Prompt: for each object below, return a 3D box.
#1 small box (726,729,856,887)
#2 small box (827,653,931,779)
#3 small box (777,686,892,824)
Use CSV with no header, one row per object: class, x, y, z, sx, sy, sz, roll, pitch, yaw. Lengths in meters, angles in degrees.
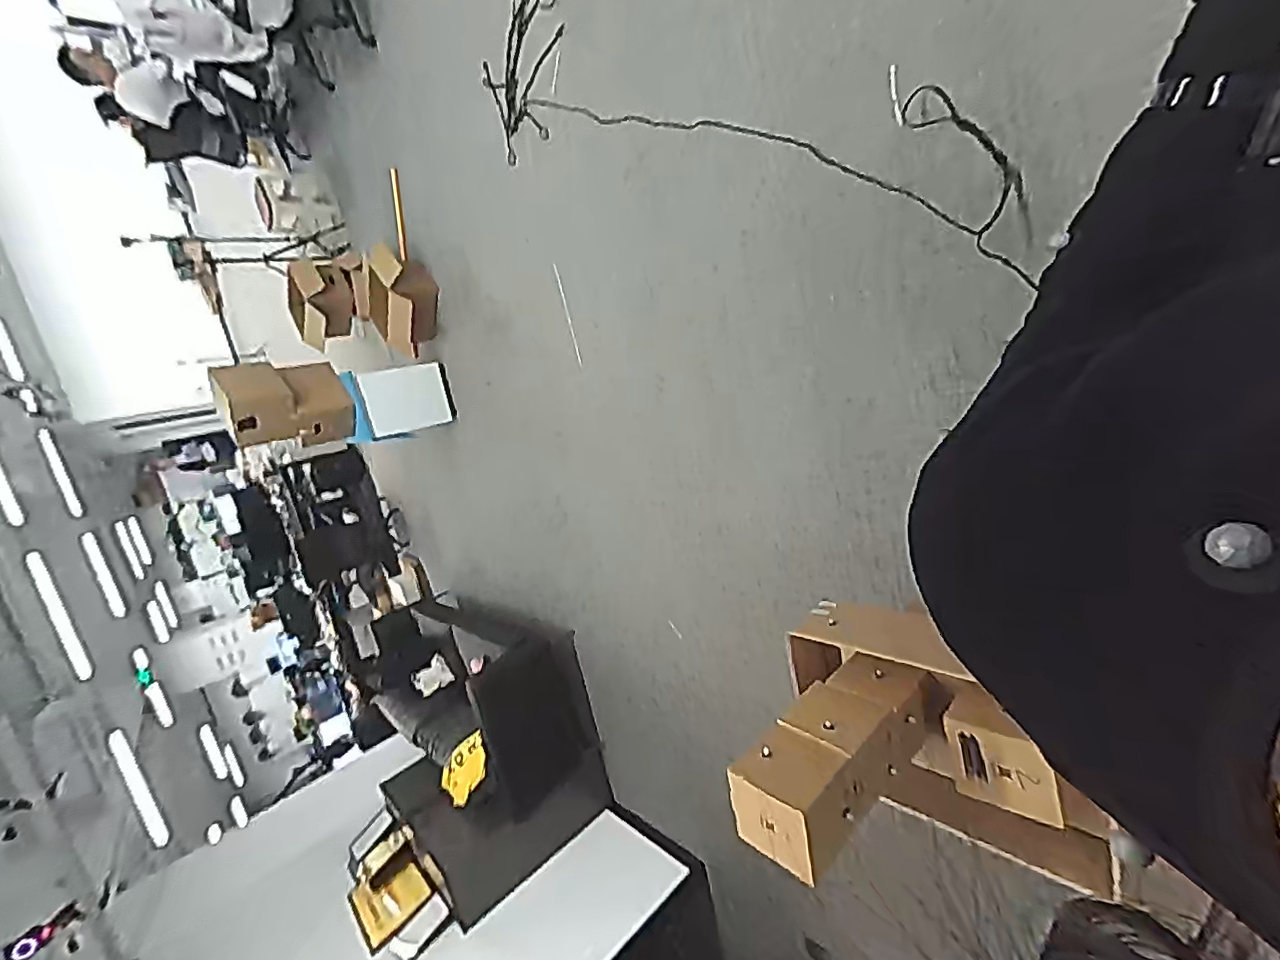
small box,0.295,0.621,1.055,0.179,0.176,0.168,5,110,49
small box,0.550,0.528,1.239,0.168,0.176,0.179,8,112,49
small box,0.418,0.569,1.149,0.179,0.176,0.168,6,110,50
